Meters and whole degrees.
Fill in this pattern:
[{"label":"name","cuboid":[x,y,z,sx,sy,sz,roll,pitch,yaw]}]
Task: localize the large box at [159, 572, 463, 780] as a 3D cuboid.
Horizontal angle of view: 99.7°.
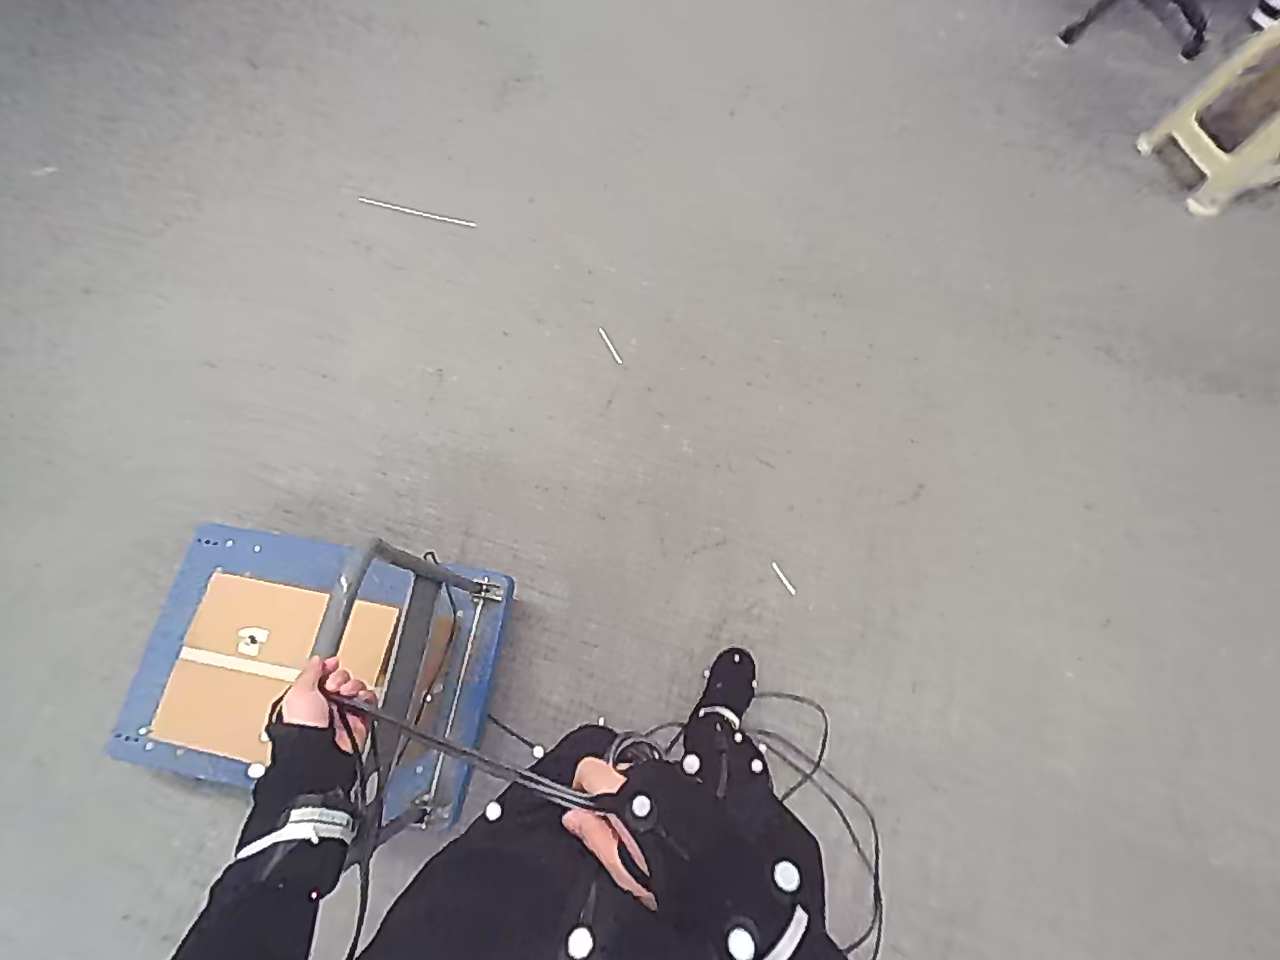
[{"label":"large box","cuboid":[-0.652,0.398,1.151,0.408,0.320,0.320,9,73,7]}]
